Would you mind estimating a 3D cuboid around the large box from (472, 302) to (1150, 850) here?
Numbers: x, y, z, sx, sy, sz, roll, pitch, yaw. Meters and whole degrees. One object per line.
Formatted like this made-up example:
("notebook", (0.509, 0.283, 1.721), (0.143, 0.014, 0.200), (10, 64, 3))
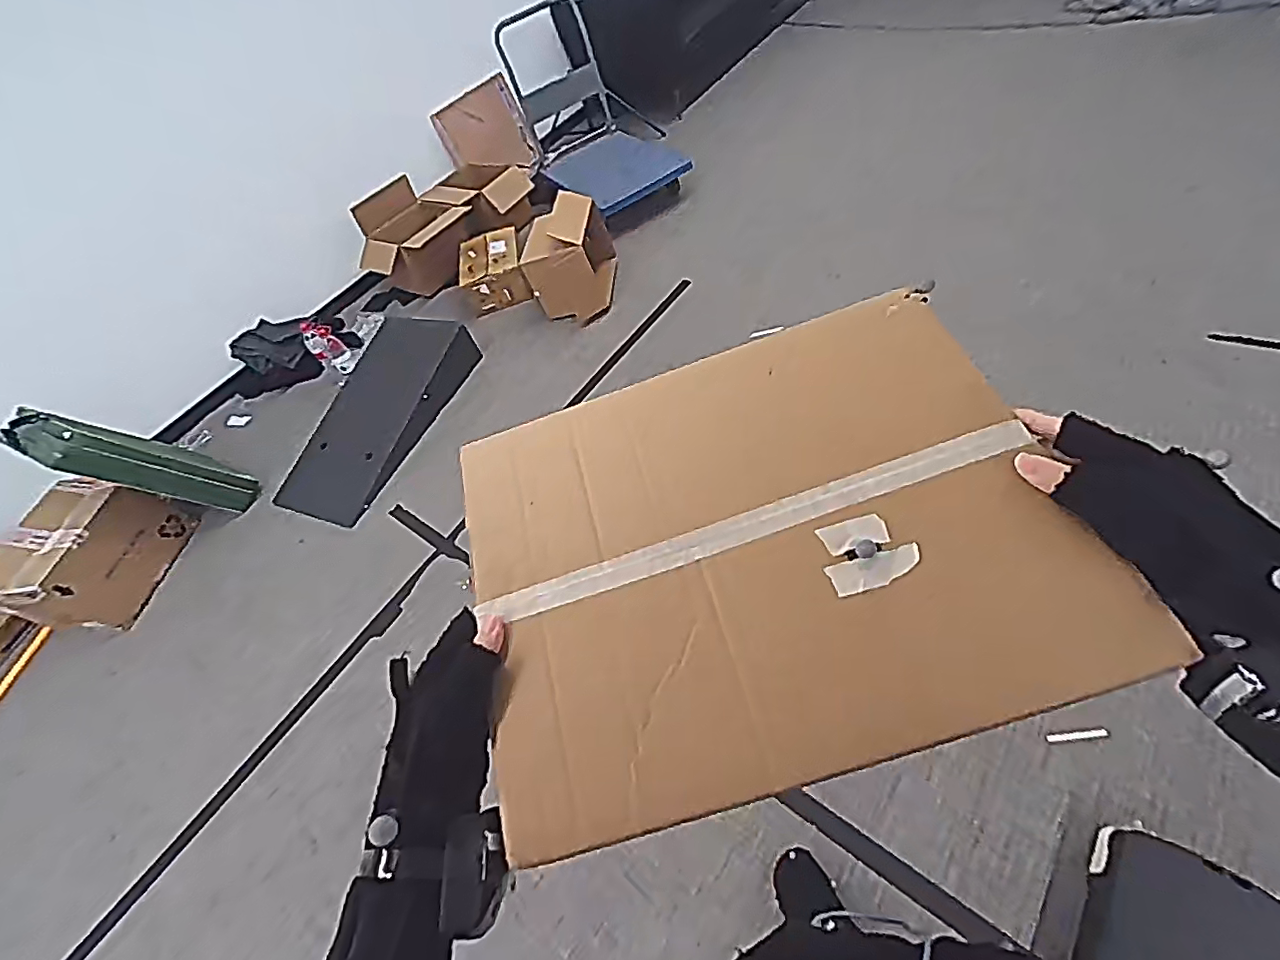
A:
("large box", (0.105, 0.106, 0.527), (0.408, 0.320, 0.320), (-20, 61, 3))
